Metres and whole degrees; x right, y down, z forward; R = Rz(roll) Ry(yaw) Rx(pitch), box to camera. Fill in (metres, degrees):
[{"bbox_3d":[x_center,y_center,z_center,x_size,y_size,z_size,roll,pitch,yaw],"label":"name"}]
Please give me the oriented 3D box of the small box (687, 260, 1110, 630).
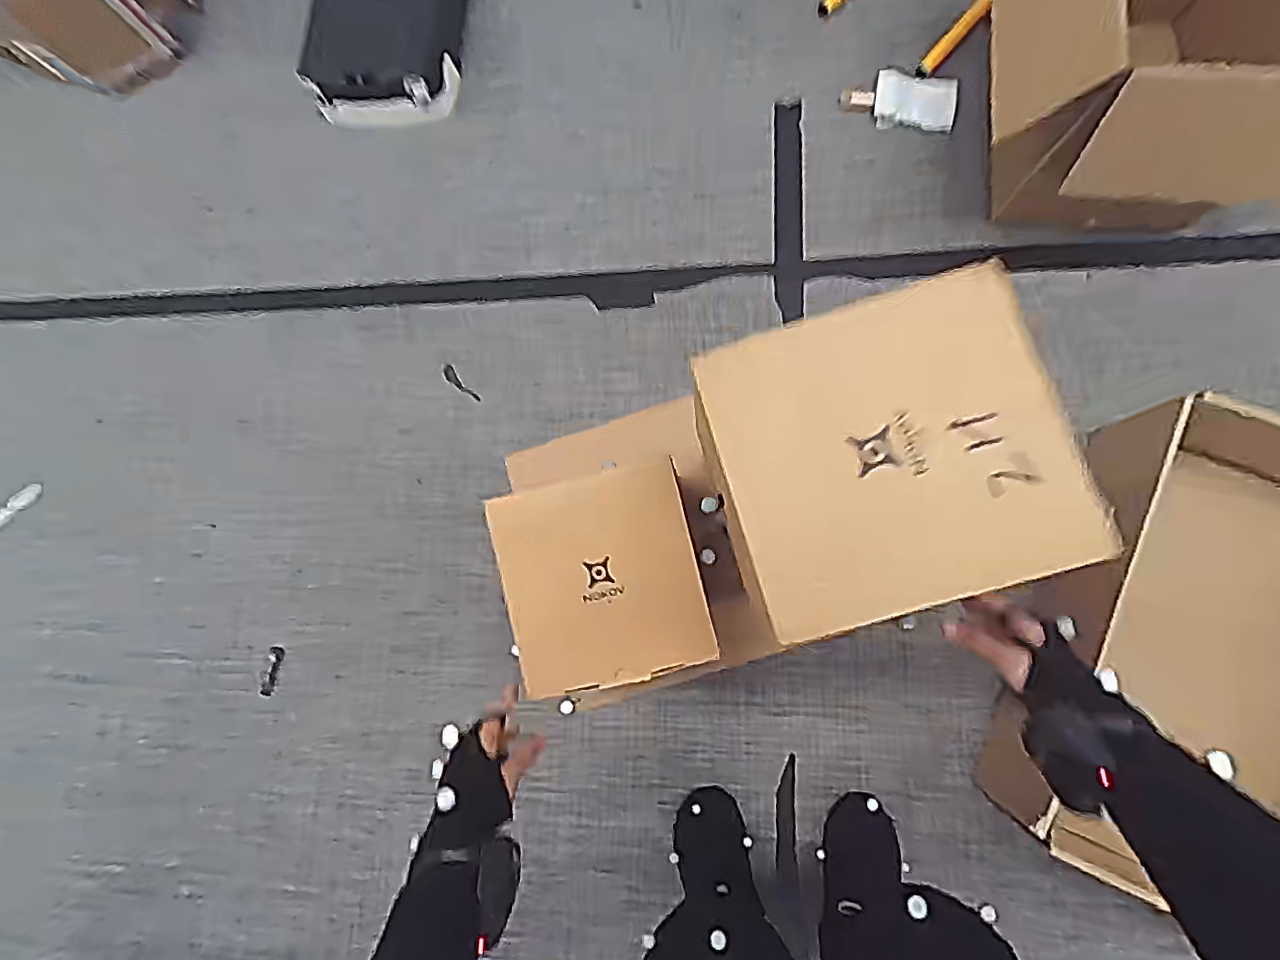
[{"bbox_3d":[0.140,-0.008,0.365,0.179,0.176,0.168,-17,81,4],"label":"small box"}]
